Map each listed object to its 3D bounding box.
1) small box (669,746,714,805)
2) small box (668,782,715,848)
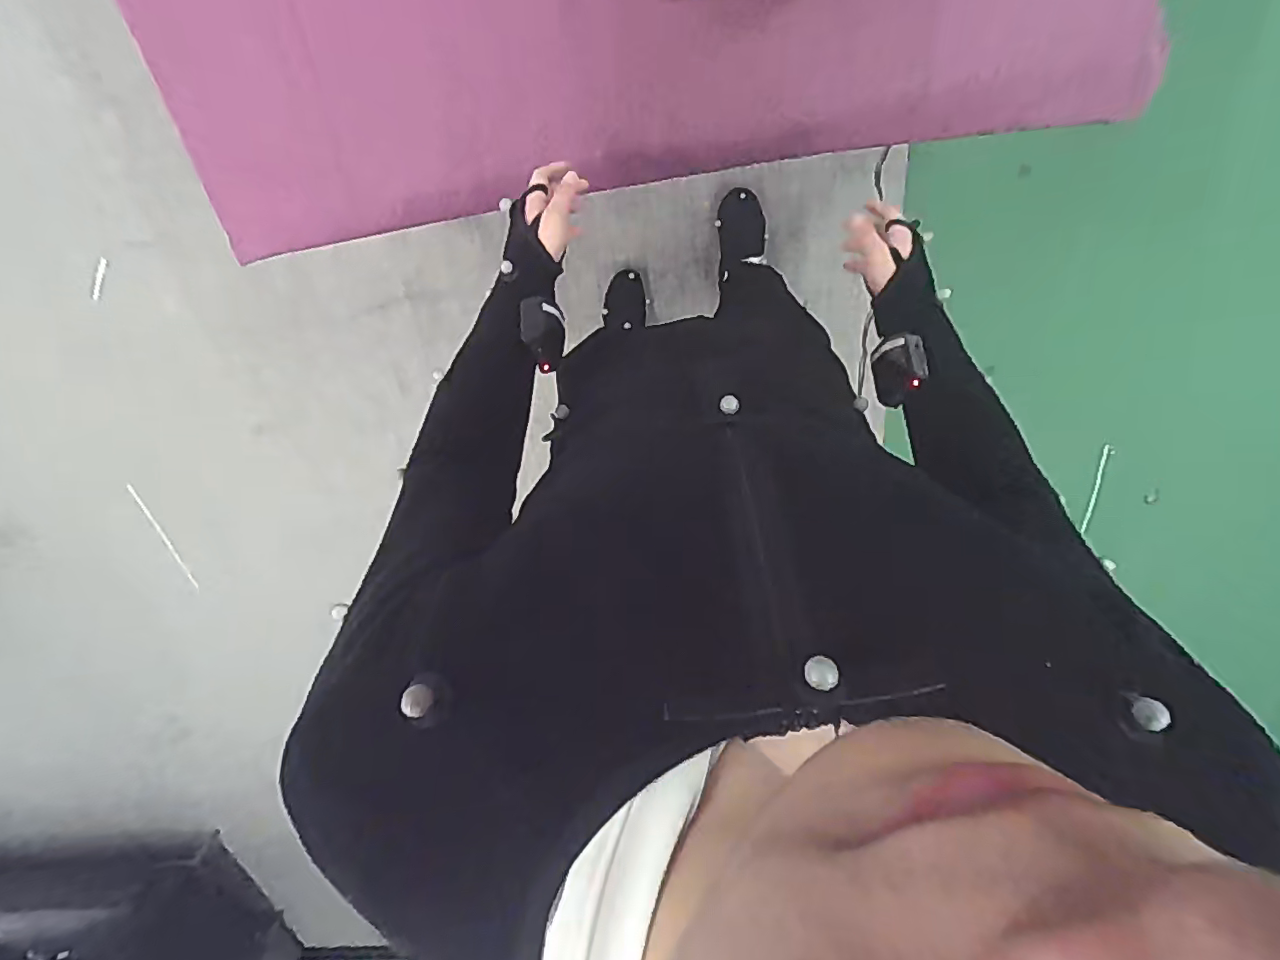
[{"bbox_3d":[0.220,1.261,2.305,0.179,0.176,0.168,-4,118,5],"label":"small box"},{"bbox_3d":[0.206,1.337,2.164,0.179,0.176,0.168,-5,117,5],"label":"small box"}]
